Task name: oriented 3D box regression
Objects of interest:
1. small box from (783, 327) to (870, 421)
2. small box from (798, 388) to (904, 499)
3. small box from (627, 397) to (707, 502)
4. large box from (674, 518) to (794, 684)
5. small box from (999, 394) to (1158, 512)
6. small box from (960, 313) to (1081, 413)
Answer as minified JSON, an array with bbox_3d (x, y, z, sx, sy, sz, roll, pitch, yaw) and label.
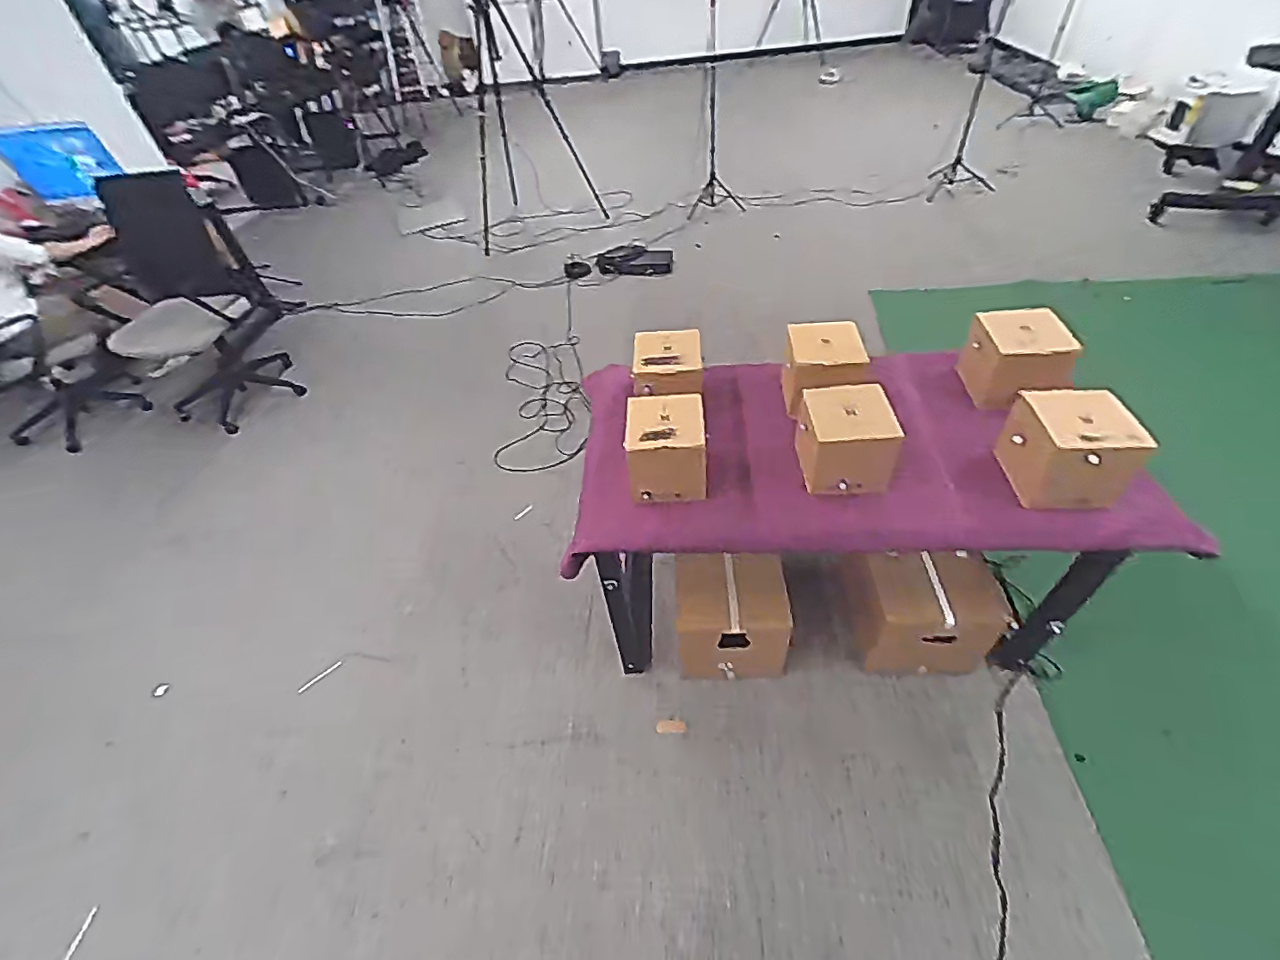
[{"bbox_3d":[0.459,-0.265,1.359,0.168,0.176,0.179,-1,47,6],"label":"small box"},{"bbox_3d":[0.446,-0.079,1.177,0.168,0.176,0.179,-3,45,6],"label":"small box"},{"bbox_3d":[0.064,-0.063,1.209,0.168,0.176,0.179,-2,44,5],"label":"small box"},{"bbox_3d":[0.275,0.375,1.684,0.320,0.320,0.408,-3,45,4],"label":"large box"},{"bbox_3d":[0.864,-0.055,1.092,0.168,0.176,0.179,-1,43,9],"label":"small box"},{"bbox_3d":[0.903,-0.282,1.307,0.168,0.176,0.179,-2,47,9],"label":"small box"}]
